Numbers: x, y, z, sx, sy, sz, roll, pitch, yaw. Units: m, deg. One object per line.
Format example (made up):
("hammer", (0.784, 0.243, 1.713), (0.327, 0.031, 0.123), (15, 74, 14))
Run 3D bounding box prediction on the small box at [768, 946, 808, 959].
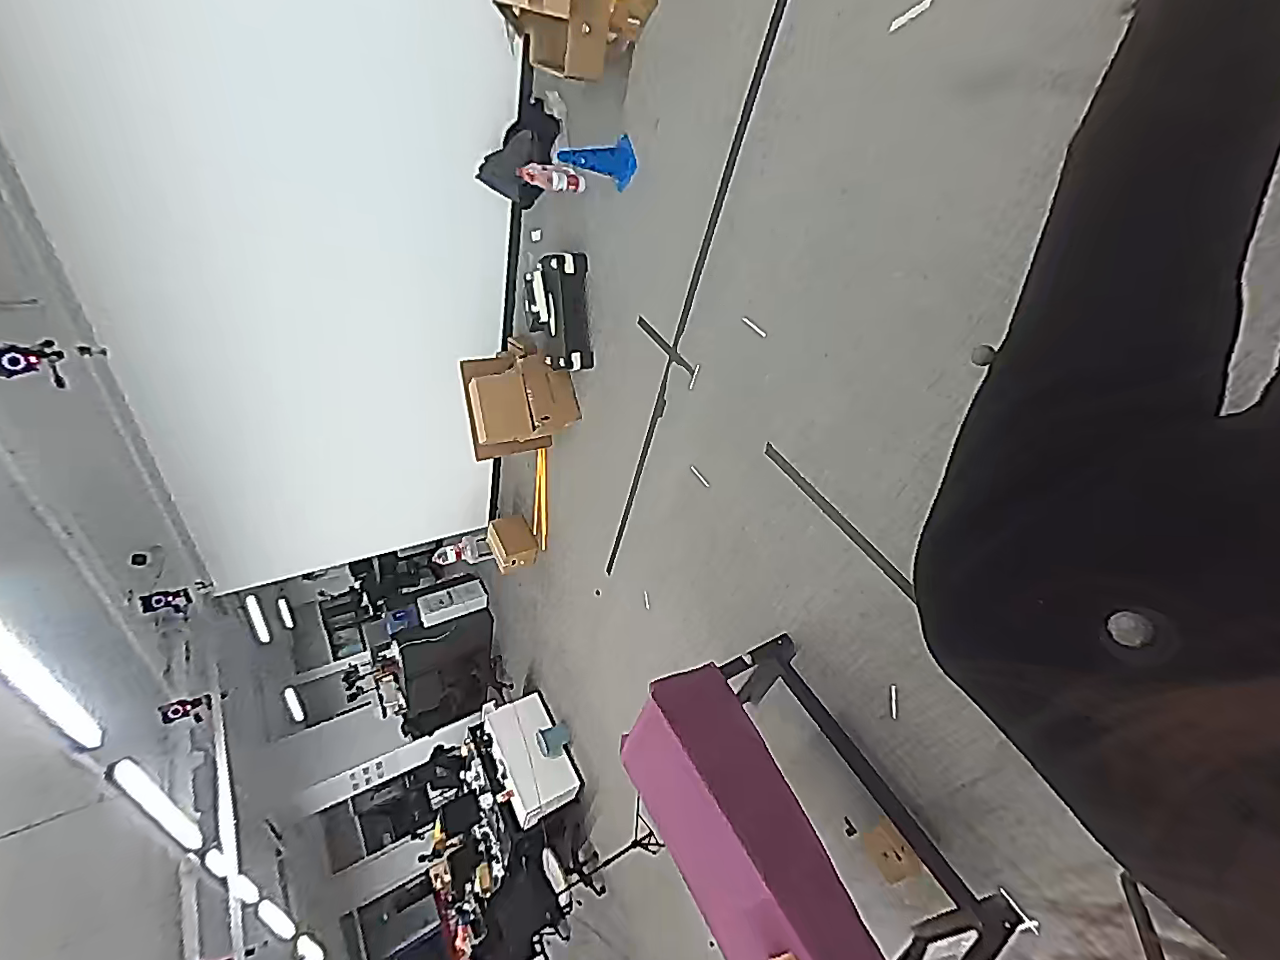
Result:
("small box", (0.435, 1.540, 1.611), (0.168, 0.176, 0.179), (52, 142, 33))
